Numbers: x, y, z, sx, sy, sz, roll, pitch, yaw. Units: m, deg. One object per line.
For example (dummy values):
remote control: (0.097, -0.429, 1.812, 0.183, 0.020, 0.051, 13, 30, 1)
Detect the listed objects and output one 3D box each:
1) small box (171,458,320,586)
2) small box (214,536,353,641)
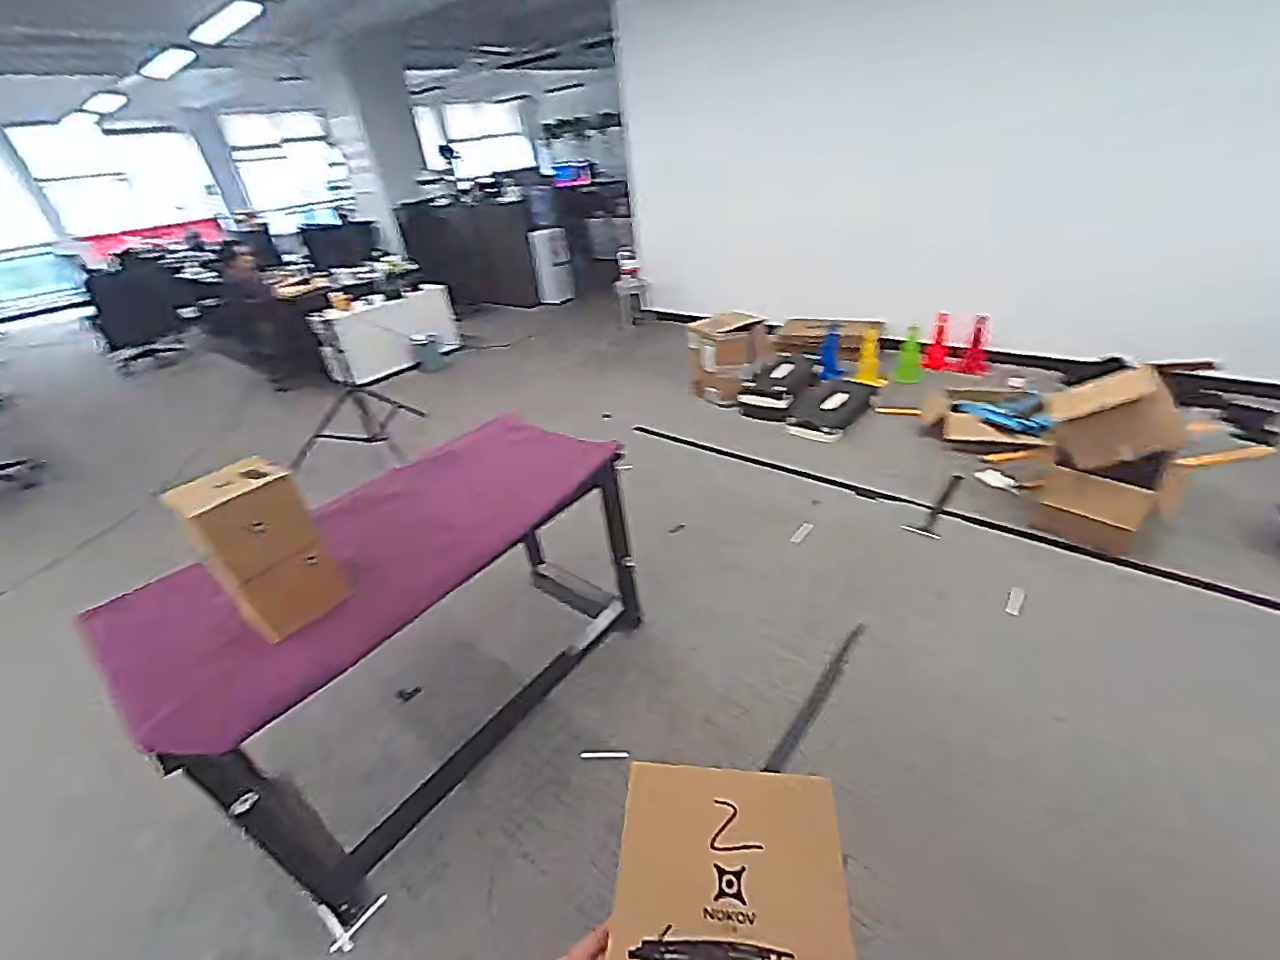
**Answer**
small box: (-0.790, 0.082, 1.103, 0.168, 0.176, 0.179, 16, 39, 34)
small box: (-0.777, 0.220, 1.191, 0.168, 0.176, 0.179, 17, 38, 33)
